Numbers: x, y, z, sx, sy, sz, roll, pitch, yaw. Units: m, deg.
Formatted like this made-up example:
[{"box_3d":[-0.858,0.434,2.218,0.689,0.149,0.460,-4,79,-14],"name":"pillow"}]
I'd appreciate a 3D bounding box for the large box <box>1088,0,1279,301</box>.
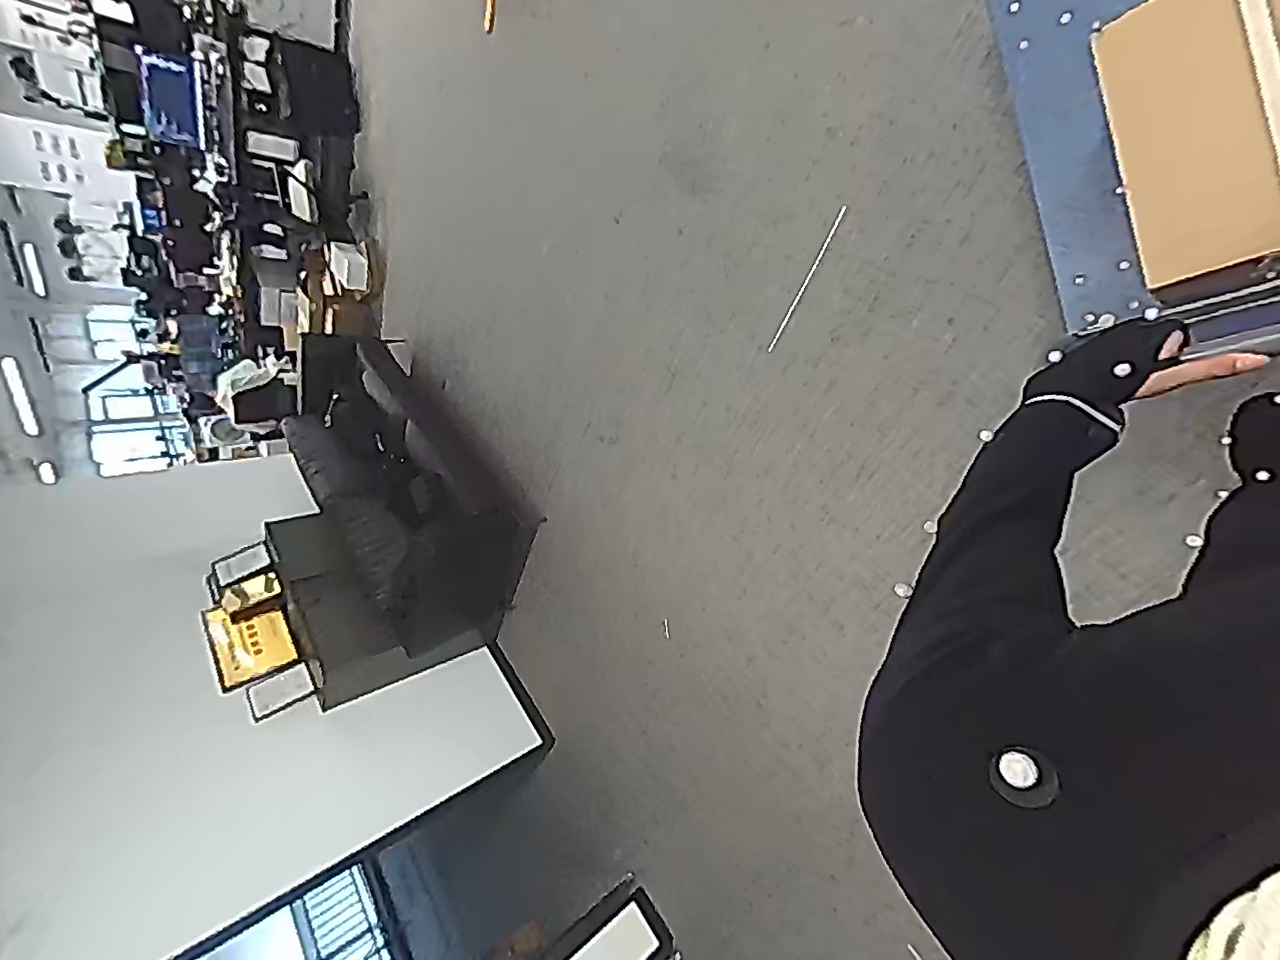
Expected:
[{"box_3d":[0.955,-0.536,0.832,0.320,0.320,0.408,-13,88,47],"name":"large box"}]
